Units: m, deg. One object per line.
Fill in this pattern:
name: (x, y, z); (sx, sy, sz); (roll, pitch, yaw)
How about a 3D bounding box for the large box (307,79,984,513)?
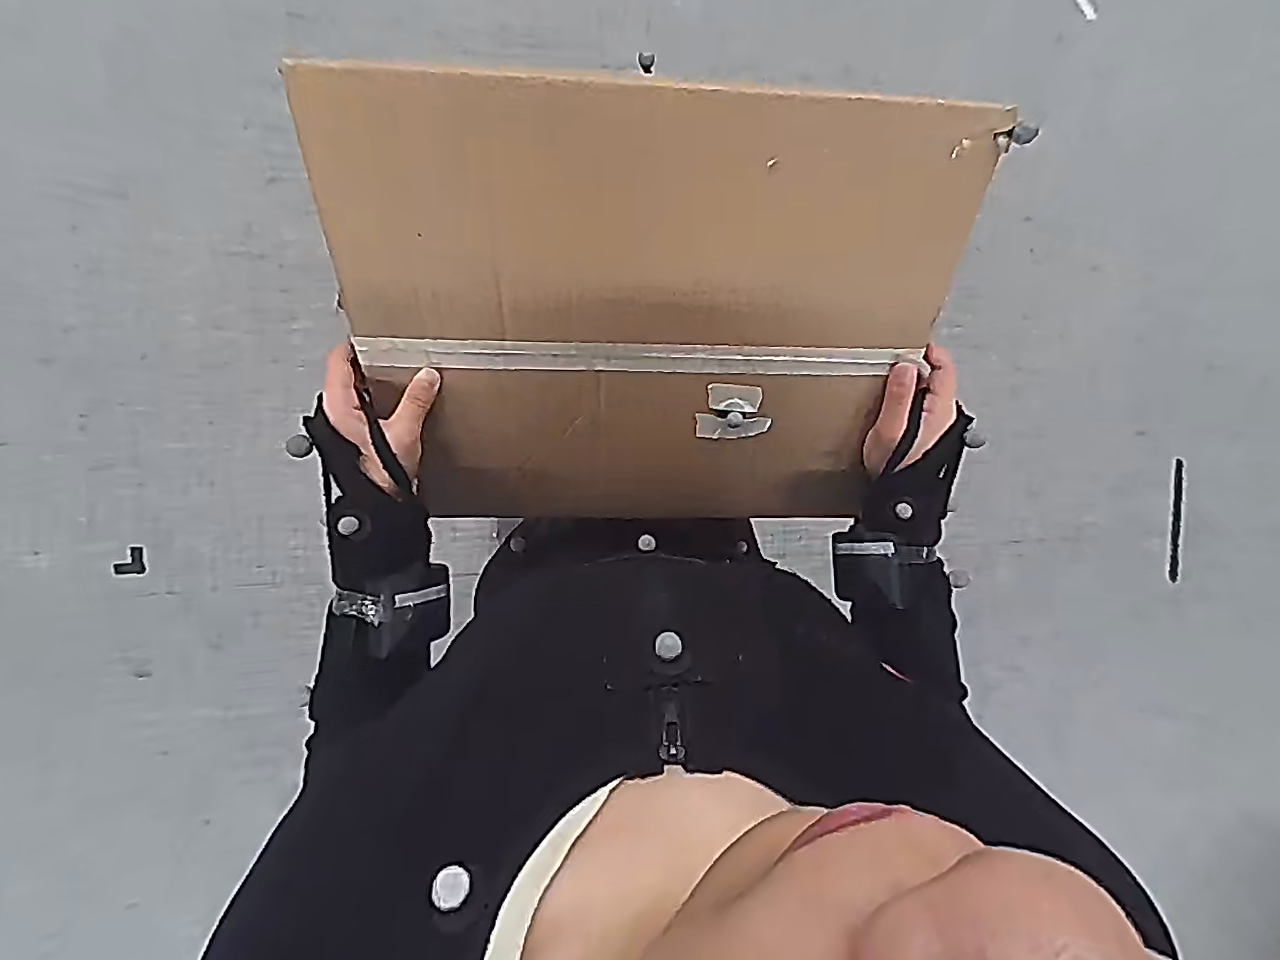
large box: (-0.005, -0.187, 0.518); (0.408, 0.320, 0.320); (-1, 128, -5)
